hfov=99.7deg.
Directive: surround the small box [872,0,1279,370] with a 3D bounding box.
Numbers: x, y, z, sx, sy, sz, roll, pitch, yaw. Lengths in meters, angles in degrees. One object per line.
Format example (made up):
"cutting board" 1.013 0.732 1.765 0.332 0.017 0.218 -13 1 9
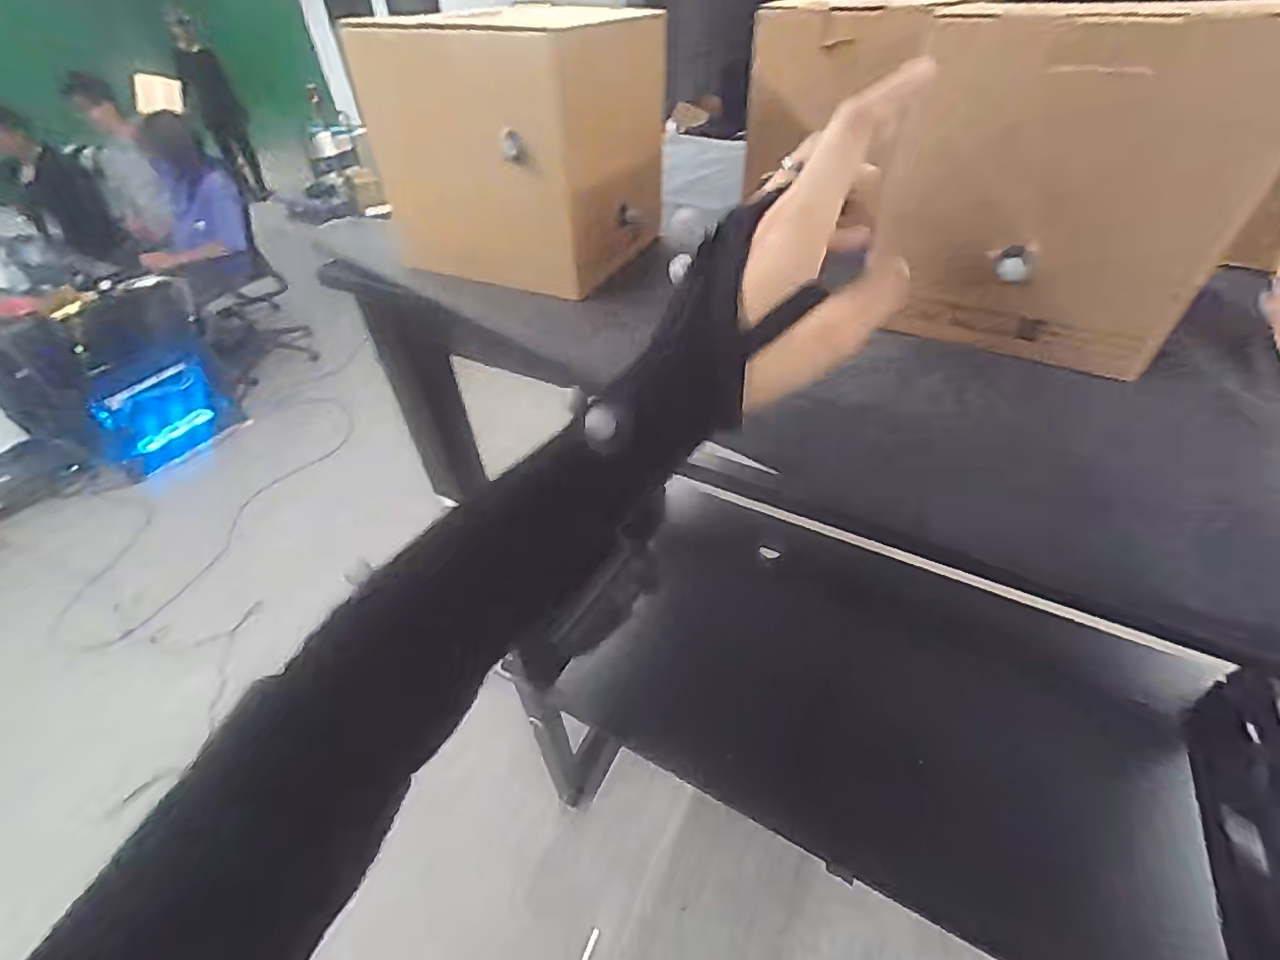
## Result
"small box" 0.267 -0.196 0.345 0.168 0.176 0.179 21 47 25
